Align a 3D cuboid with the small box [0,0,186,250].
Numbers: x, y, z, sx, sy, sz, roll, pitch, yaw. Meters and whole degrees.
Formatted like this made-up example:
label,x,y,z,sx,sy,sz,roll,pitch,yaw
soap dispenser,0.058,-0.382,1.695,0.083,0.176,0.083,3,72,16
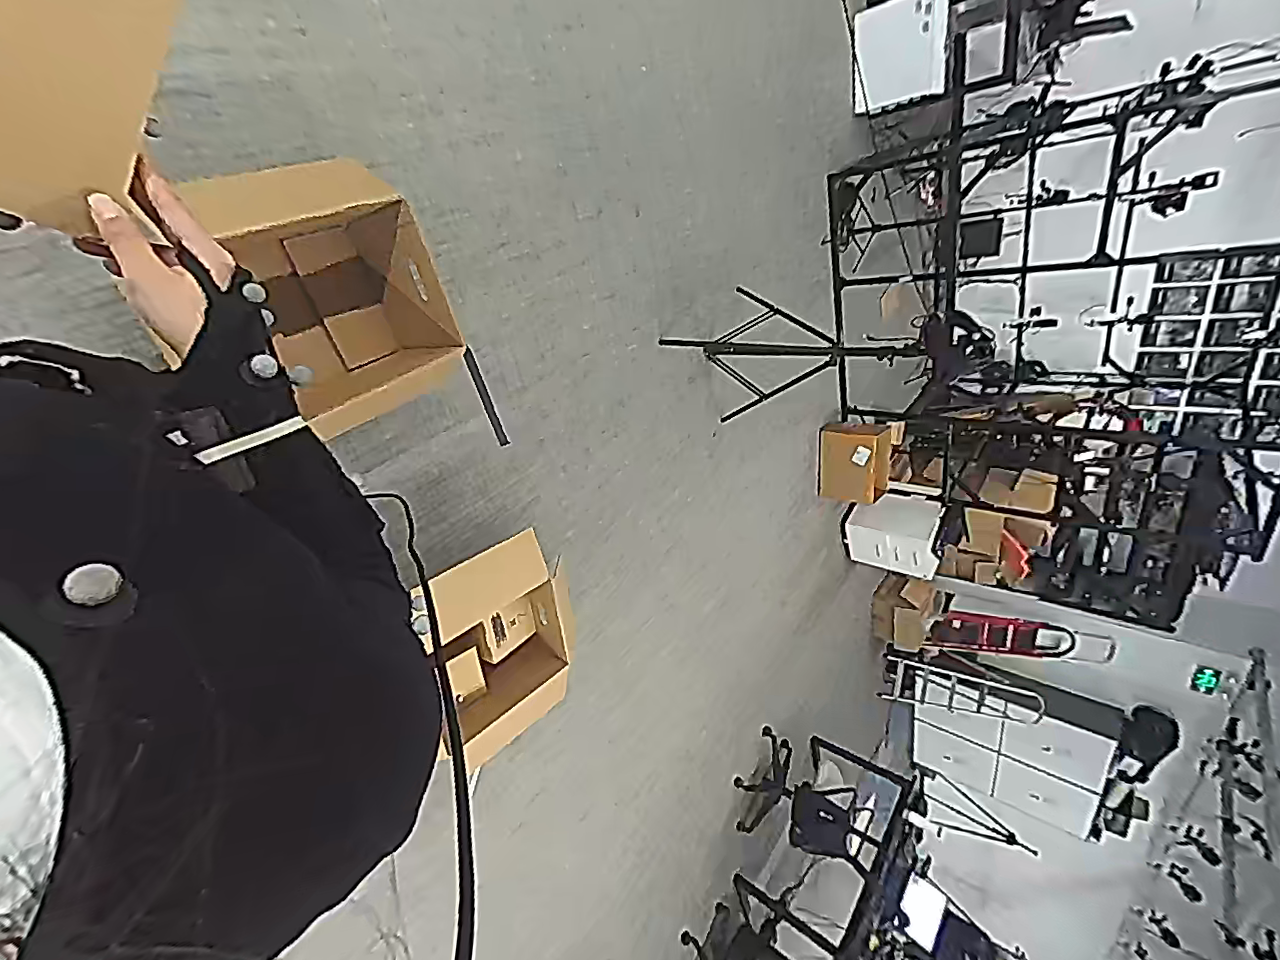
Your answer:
label,x,y,z,sx,sy,sz,roll,pitch,yaw
small box,-0.405,-0.266,0.310,0.179,0.176,0.168,14,108,-51
